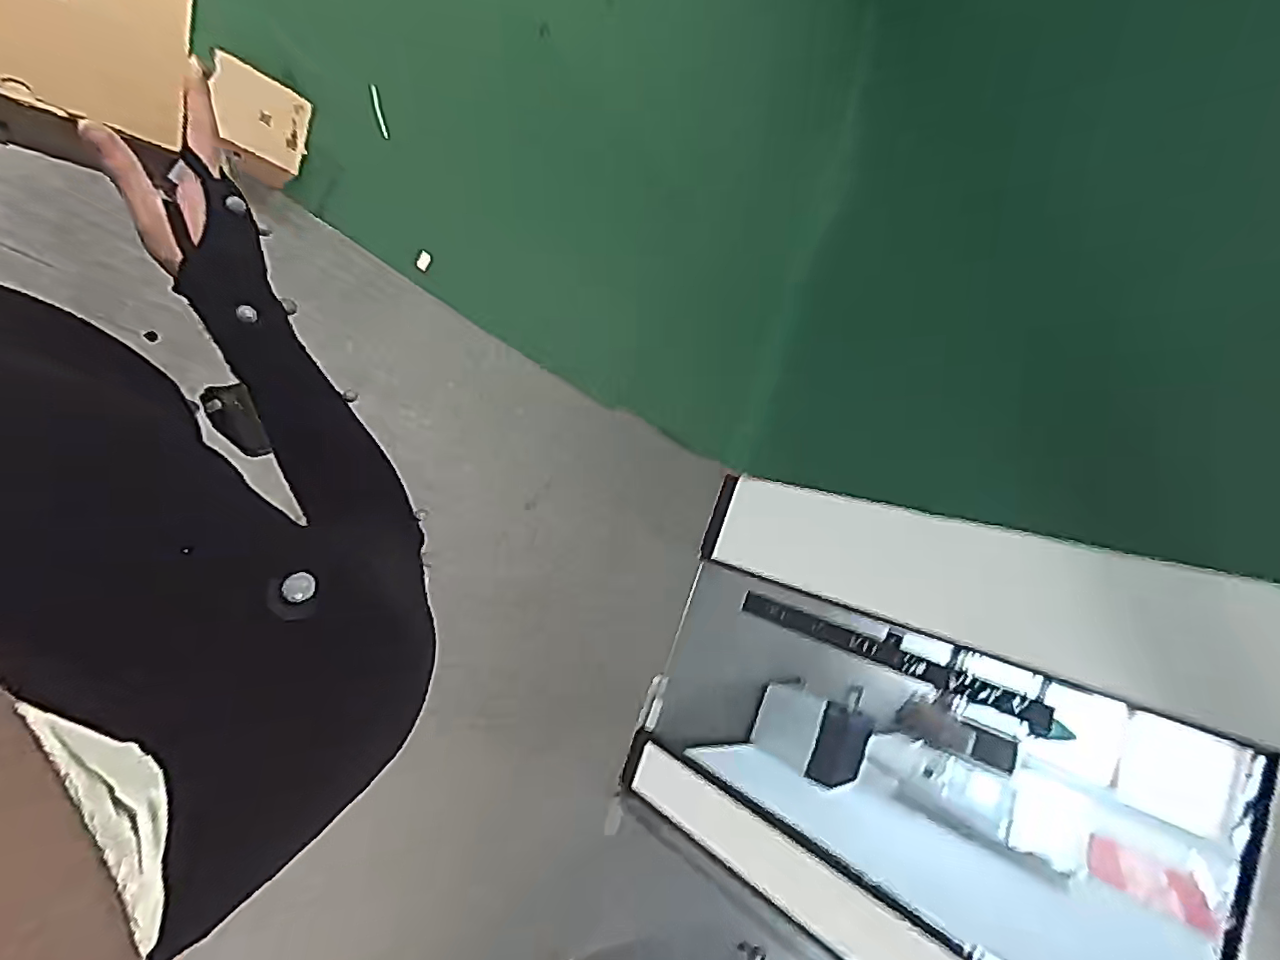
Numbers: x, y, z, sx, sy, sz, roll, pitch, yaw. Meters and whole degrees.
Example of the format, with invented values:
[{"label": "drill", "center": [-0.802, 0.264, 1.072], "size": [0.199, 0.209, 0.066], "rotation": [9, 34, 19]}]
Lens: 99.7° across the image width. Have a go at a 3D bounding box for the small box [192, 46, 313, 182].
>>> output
[{"label": "small box", "center": [-0.862, -0.794, 1.199], "size": [0.179, 0.176, 0.168], "rotation": [13, 91, -47]}]
